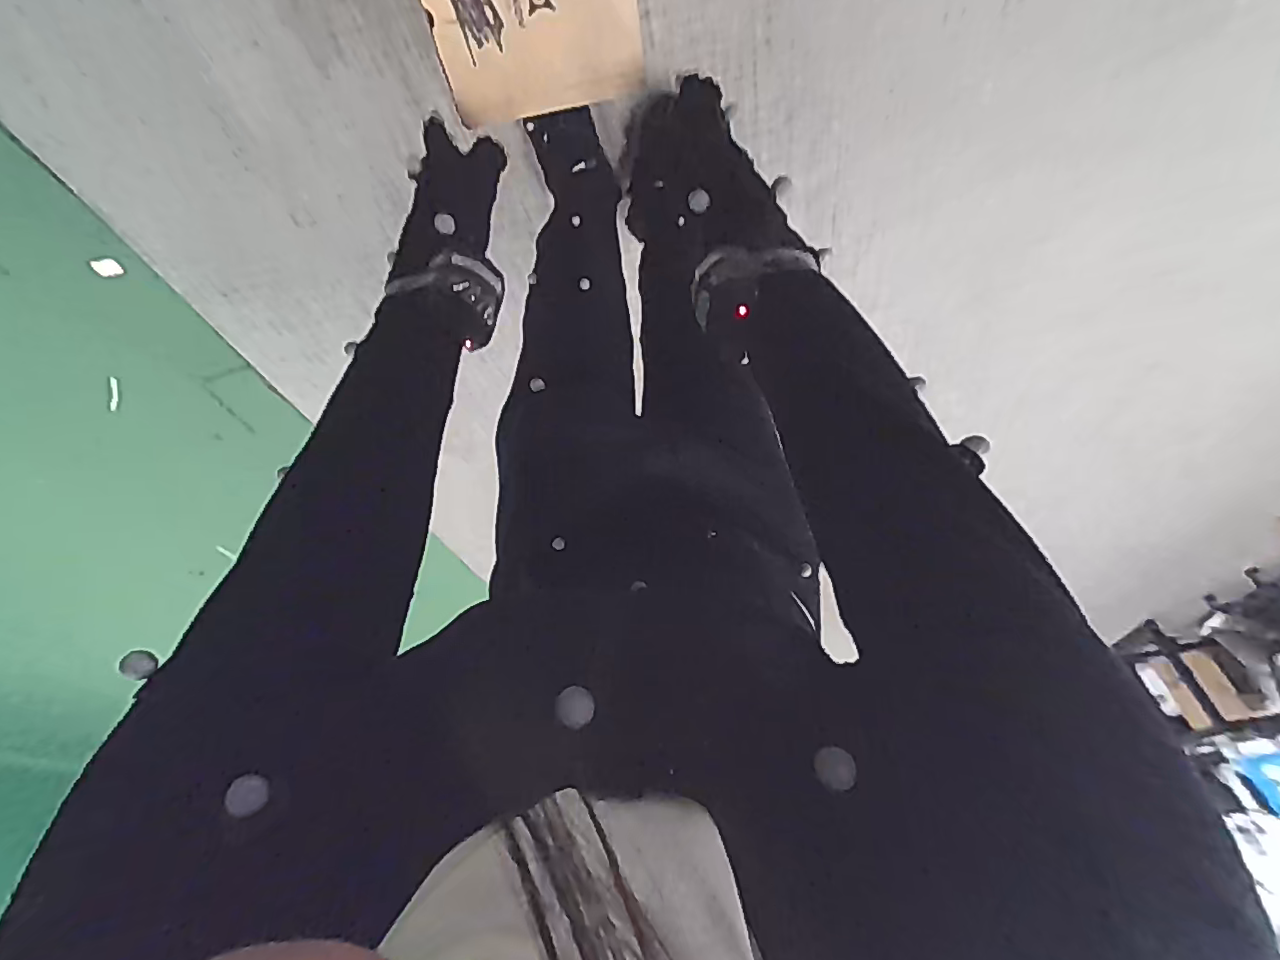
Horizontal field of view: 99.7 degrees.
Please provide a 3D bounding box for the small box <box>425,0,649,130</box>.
[{"bbox_3d":[-0.093,-0.453,0.490,0.179,0.176,0.168,-10,143,3],"label":"small box"}]
